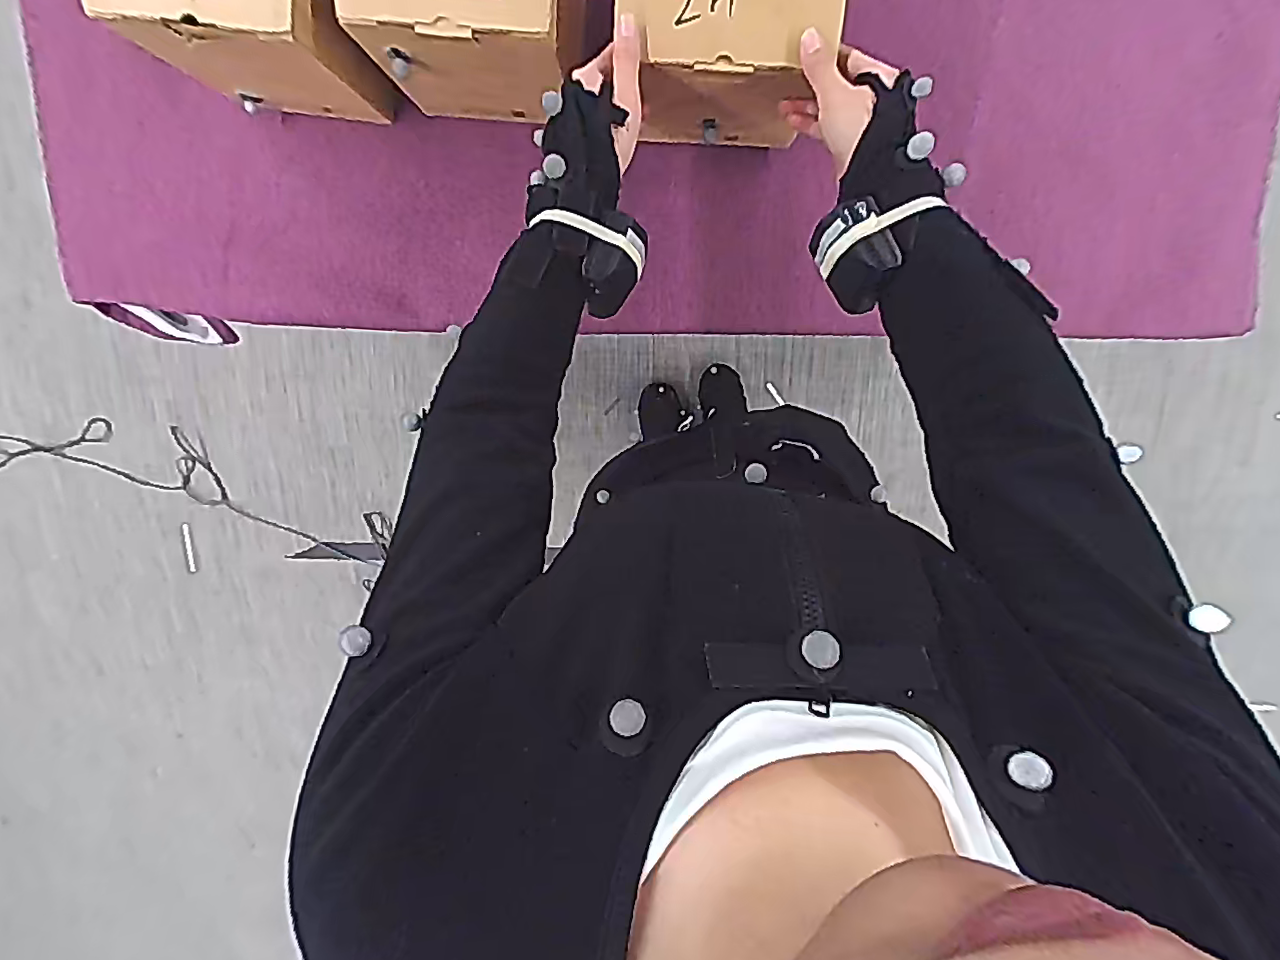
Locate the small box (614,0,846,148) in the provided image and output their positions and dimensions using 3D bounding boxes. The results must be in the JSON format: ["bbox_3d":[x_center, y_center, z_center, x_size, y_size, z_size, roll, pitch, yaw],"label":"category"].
[{"bbox_3d":[0.071,-0.407,0.450,0.168,0.176,0.179,4,105,3],"label":"small box"}]
